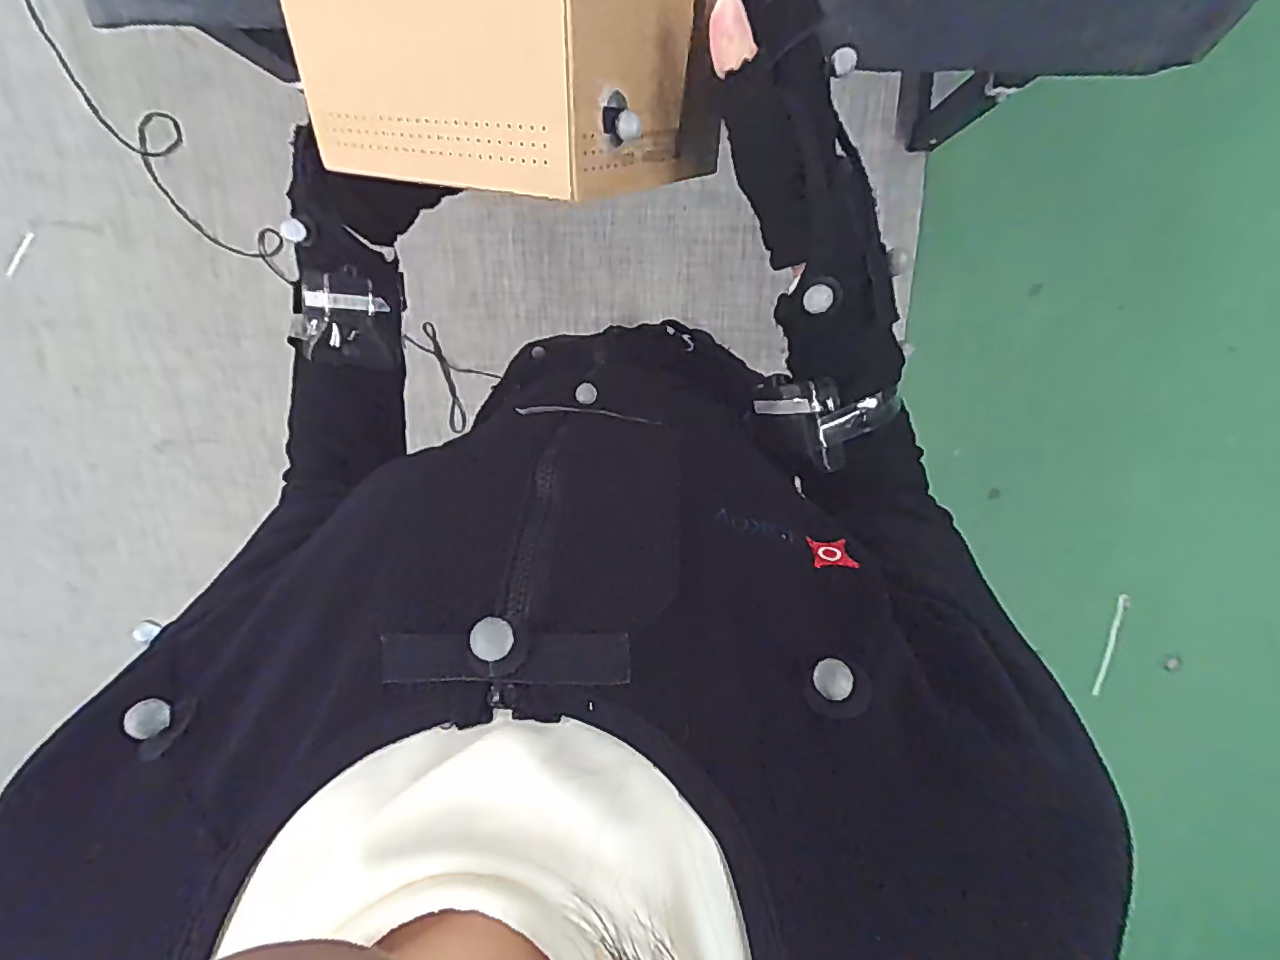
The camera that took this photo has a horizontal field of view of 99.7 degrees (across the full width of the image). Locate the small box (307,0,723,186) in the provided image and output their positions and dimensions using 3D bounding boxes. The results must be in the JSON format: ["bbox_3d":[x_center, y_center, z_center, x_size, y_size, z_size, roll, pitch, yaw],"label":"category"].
[{"bbox_3d":[-0.059,-0.266,0.300,0.179,0.168,0.176,19,127,23],"label":"small box"}]
